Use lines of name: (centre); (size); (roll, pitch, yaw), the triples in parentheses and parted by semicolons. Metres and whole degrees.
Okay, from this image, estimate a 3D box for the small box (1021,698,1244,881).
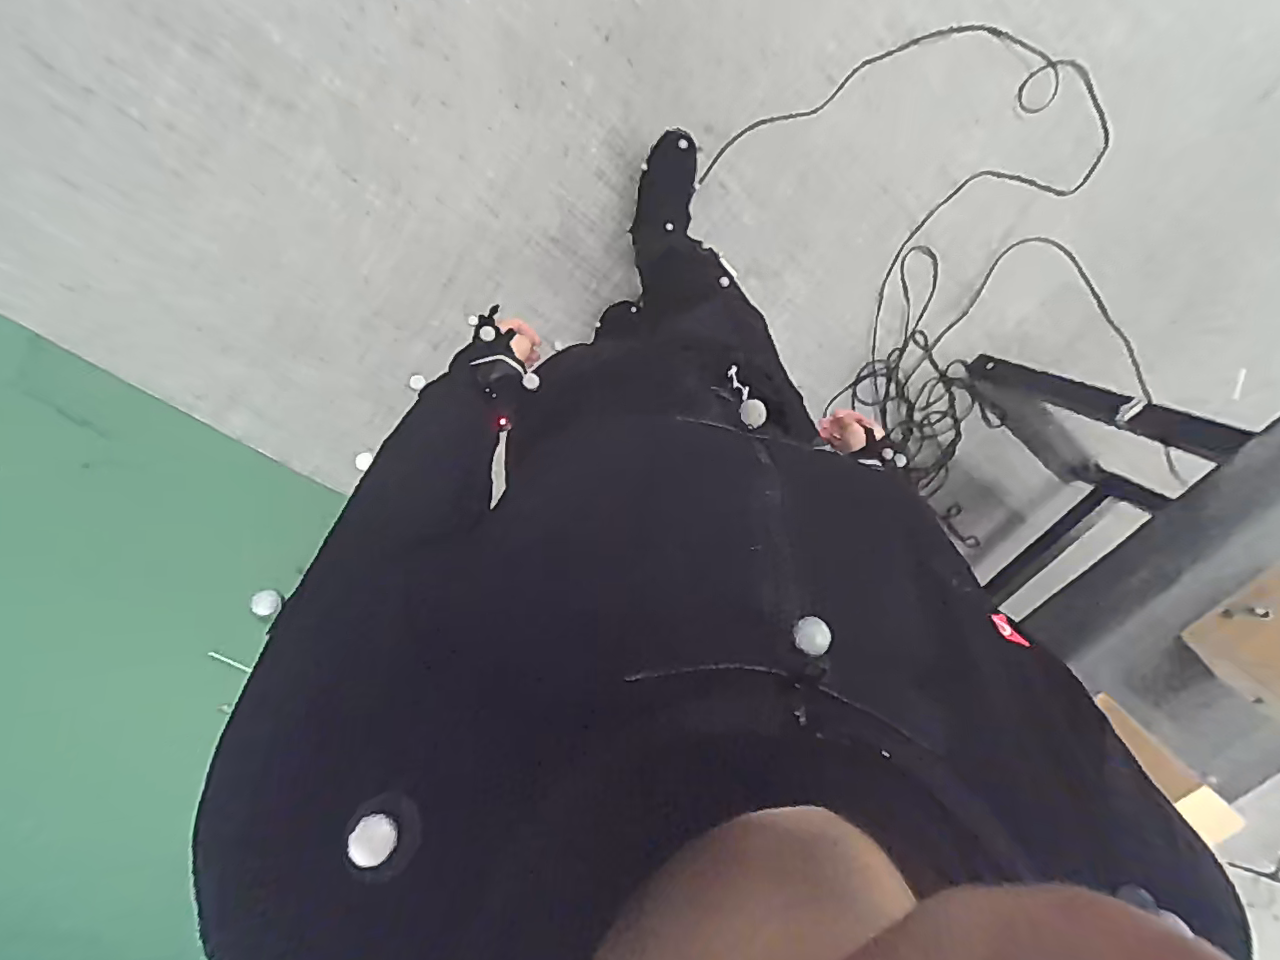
small box: (0.757, 0.477, 0.851); (0.179, 0.176, 0.168); (35, 106, -22)
